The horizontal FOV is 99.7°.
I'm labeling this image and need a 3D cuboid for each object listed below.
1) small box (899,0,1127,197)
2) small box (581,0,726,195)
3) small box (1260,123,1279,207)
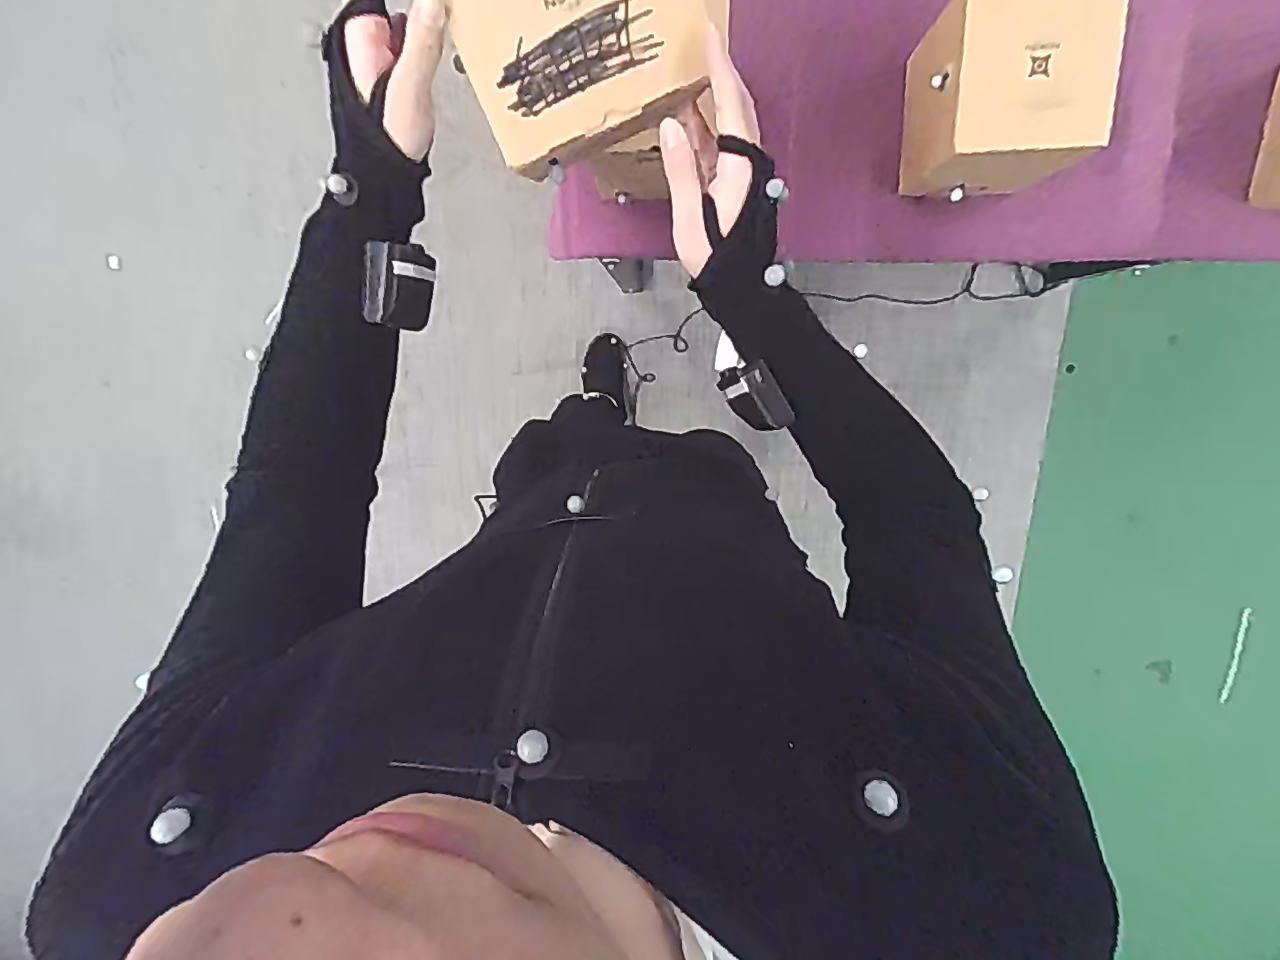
[{"bbox_3d":[0.436,-0.468,0.663,0.168,0.176,0.179,1,102,6],"label":"small box"},{"bbox_3d":[0.021,-0.480,0.694,0.168,0.176,0.179,1,101,4],"label":"small box"},{"bbox_3d":[0.902,-0.434,0.627,0.168,0.176,0.179,2,104,6],"label":"small box"}]
